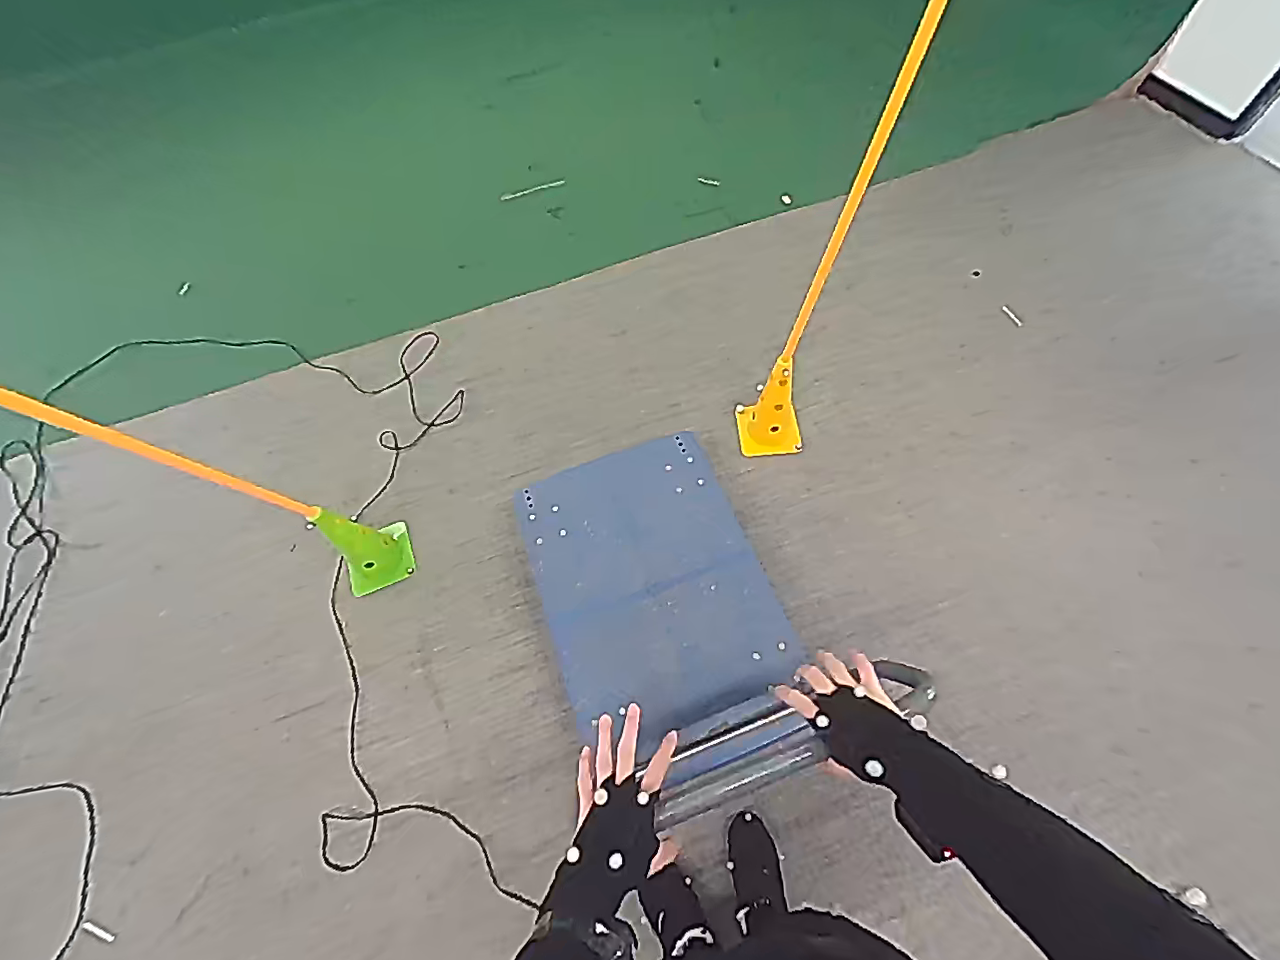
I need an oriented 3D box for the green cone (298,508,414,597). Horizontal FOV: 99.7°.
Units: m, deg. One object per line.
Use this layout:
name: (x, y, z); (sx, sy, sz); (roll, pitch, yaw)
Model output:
green cone: (-0.843, 0.167, 1.554); (0.202, 0.368, 0.200); (-24, 62, -6)
